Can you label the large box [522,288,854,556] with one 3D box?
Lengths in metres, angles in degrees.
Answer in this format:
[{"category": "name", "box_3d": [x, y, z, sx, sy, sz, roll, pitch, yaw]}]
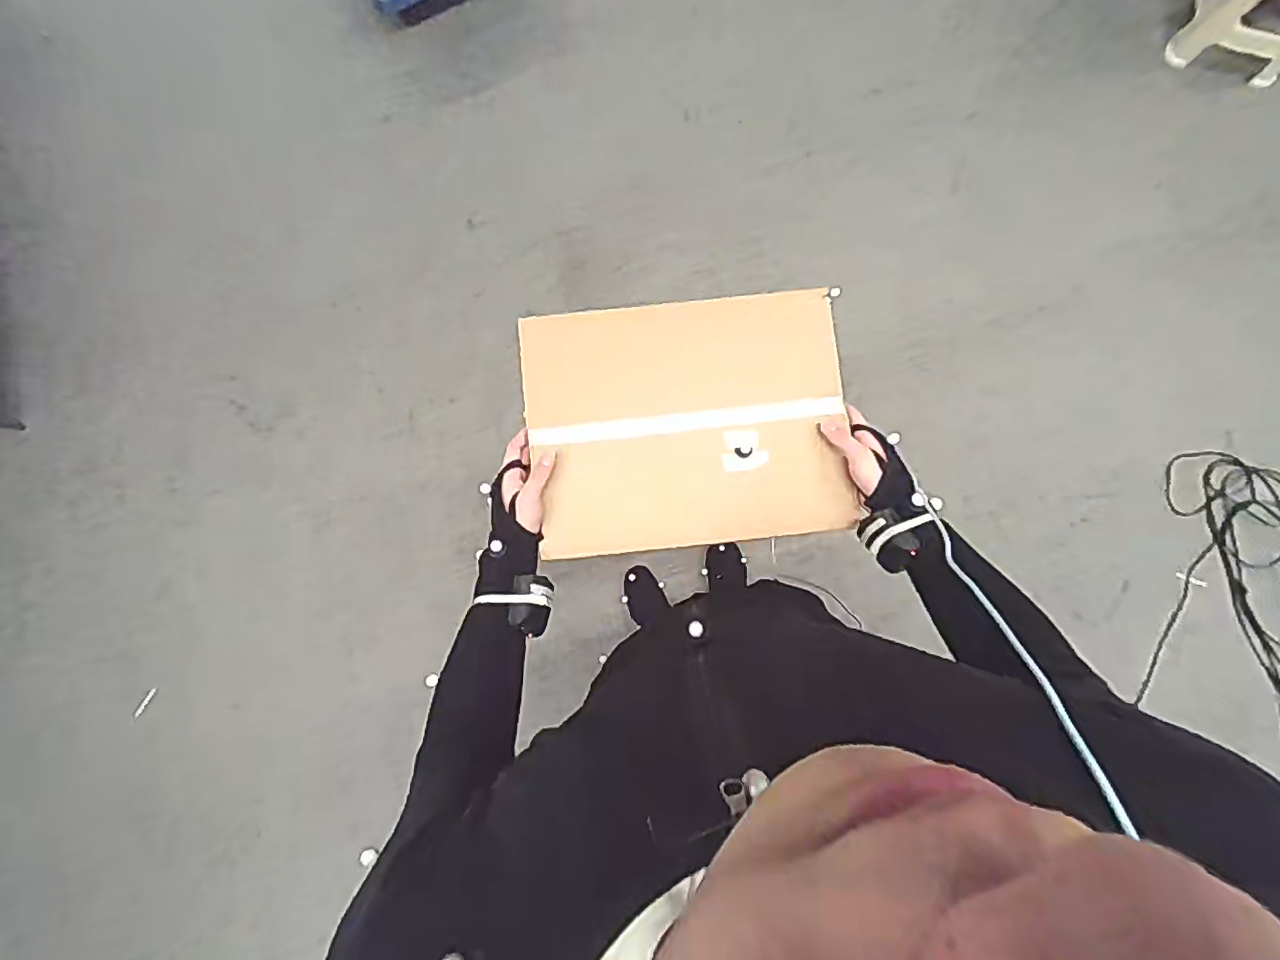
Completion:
[{"category": "large box", "box_3d": [0.057, -0.066, 0.841, 0.408, 0.320, 0.320, -6, 86, -1]}]
